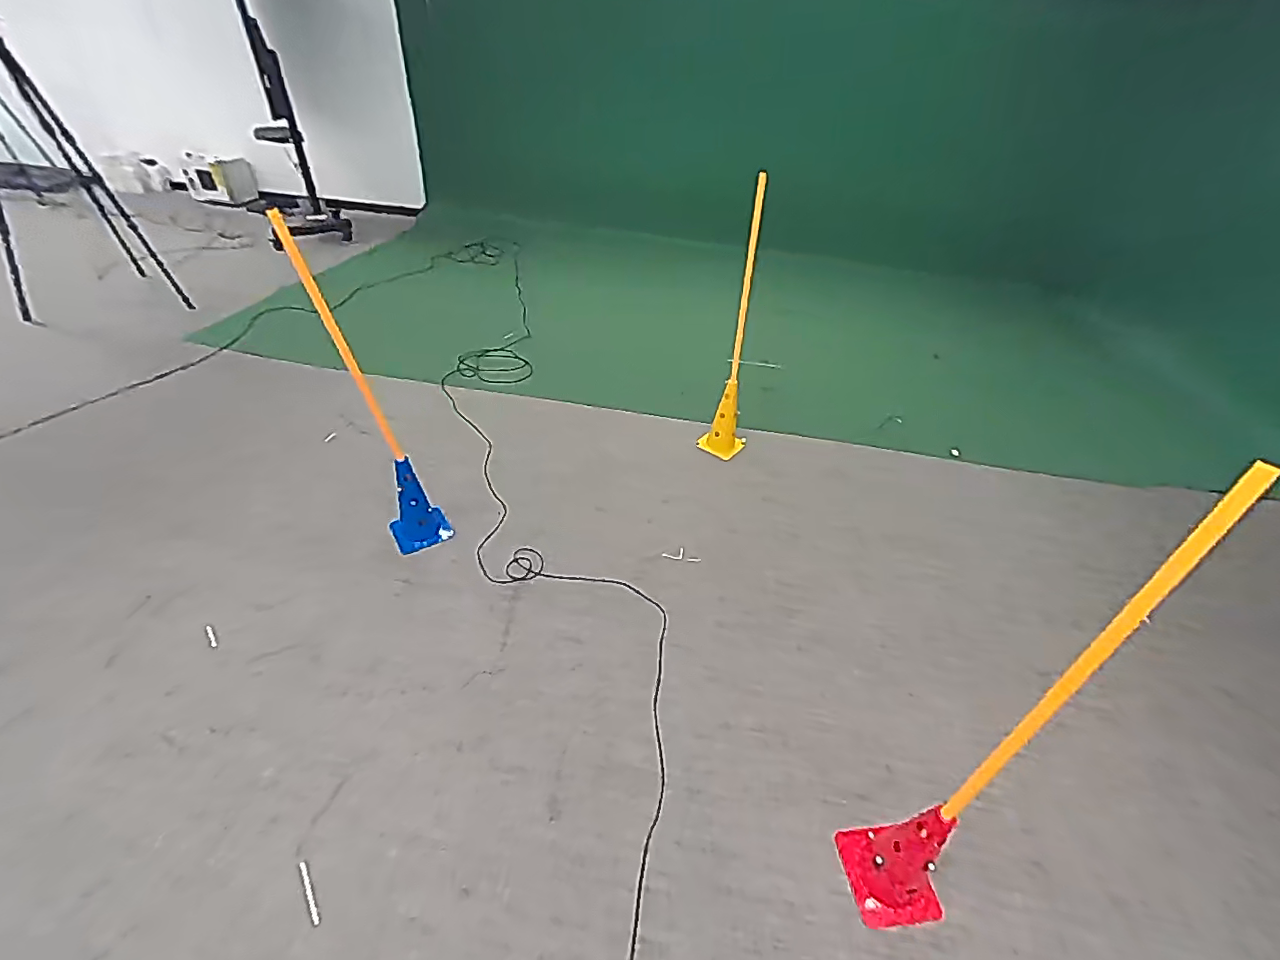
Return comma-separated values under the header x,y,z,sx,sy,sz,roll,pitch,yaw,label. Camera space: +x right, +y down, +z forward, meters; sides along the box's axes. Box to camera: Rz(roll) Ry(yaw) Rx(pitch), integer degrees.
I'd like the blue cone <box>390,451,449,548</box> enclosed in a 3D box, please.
x,y,z,sx,sy,sz,roll,pitch,yaw,label
-0.845,0.057,1.988,0.193,0.380,0.192,-23,48,-28,blue cone
